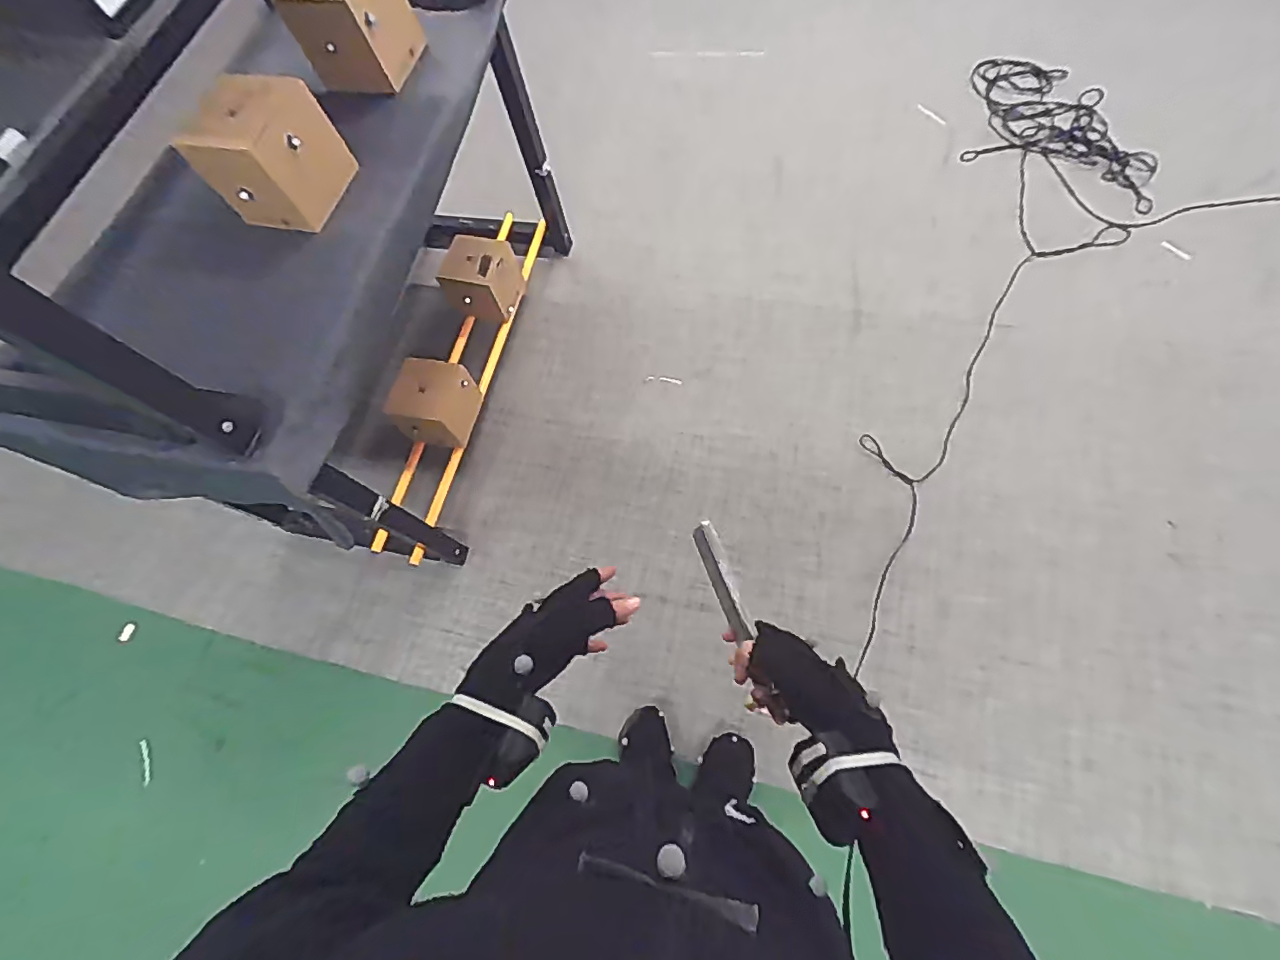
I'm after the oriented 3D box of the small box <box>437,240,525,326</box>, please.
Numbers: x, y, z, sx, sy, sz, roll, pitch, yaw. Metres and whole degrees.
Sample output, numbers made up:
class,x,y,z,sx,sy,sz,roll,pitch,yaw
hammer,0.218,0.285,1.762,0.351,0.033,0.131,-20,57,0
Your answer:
class,x,y,z,sx,sy,sz,roll,pitch,yaw
small box,-0.469,-0.588,1.628,0.179,0.176,0.168,13,70,12

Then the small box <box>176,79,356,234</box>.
class,x,y,z,sx,sy,sz,roll,pitch,yaw
small box,-0.649,-0.571,0.965,0.168,0.176,0.179,12,70,12
